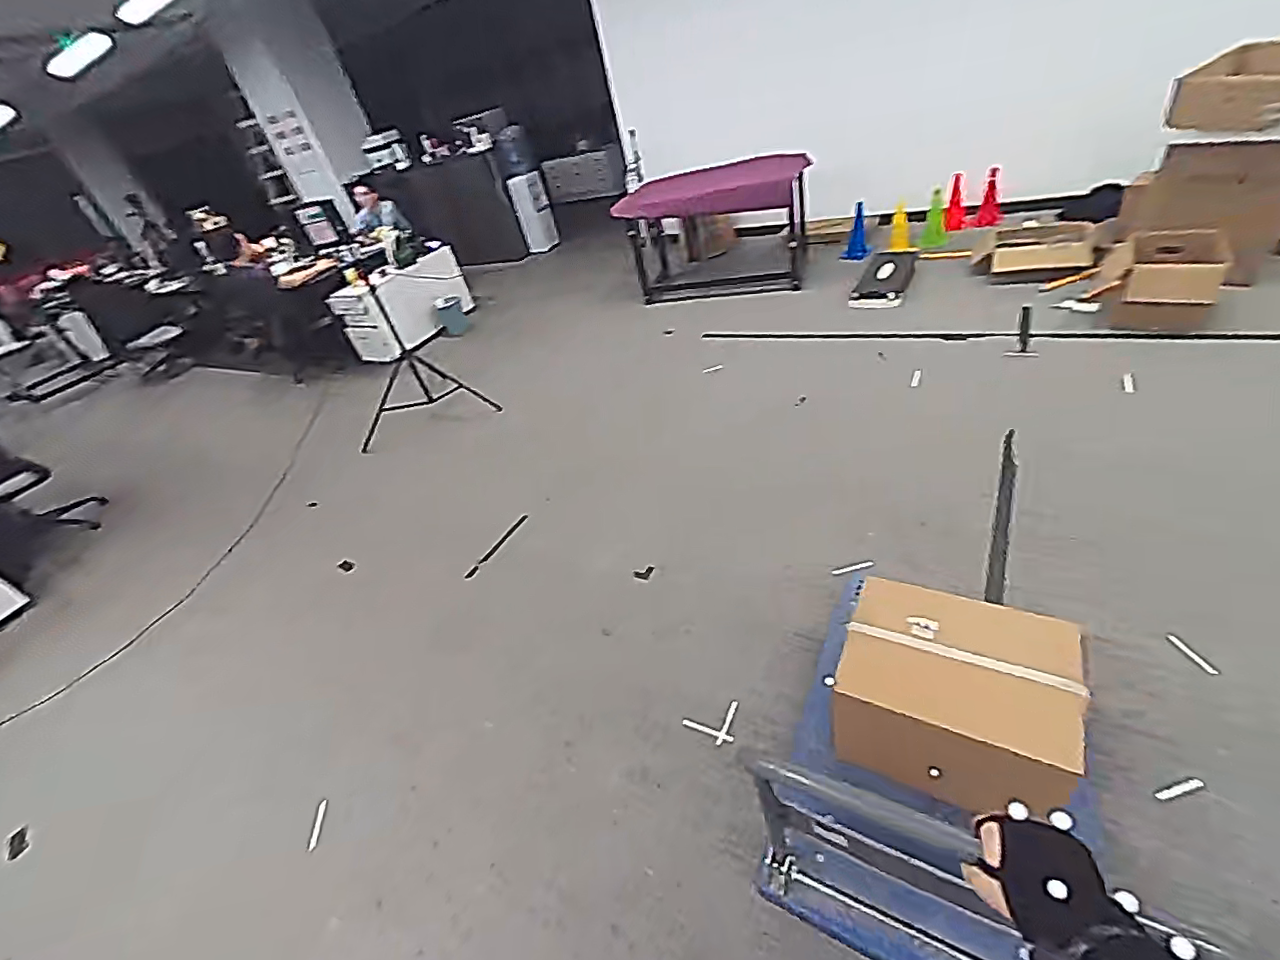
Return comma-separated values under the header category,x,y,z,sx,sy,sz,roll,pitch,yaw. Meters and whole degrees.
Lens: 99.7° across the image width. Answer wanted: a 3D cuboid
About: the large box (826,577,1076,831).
category,x,y,z,sx,sy,sz,roll,pitch,yaw
large box,0.647,0.459,1.156,0.408,0.320,0.320,9,43,31
